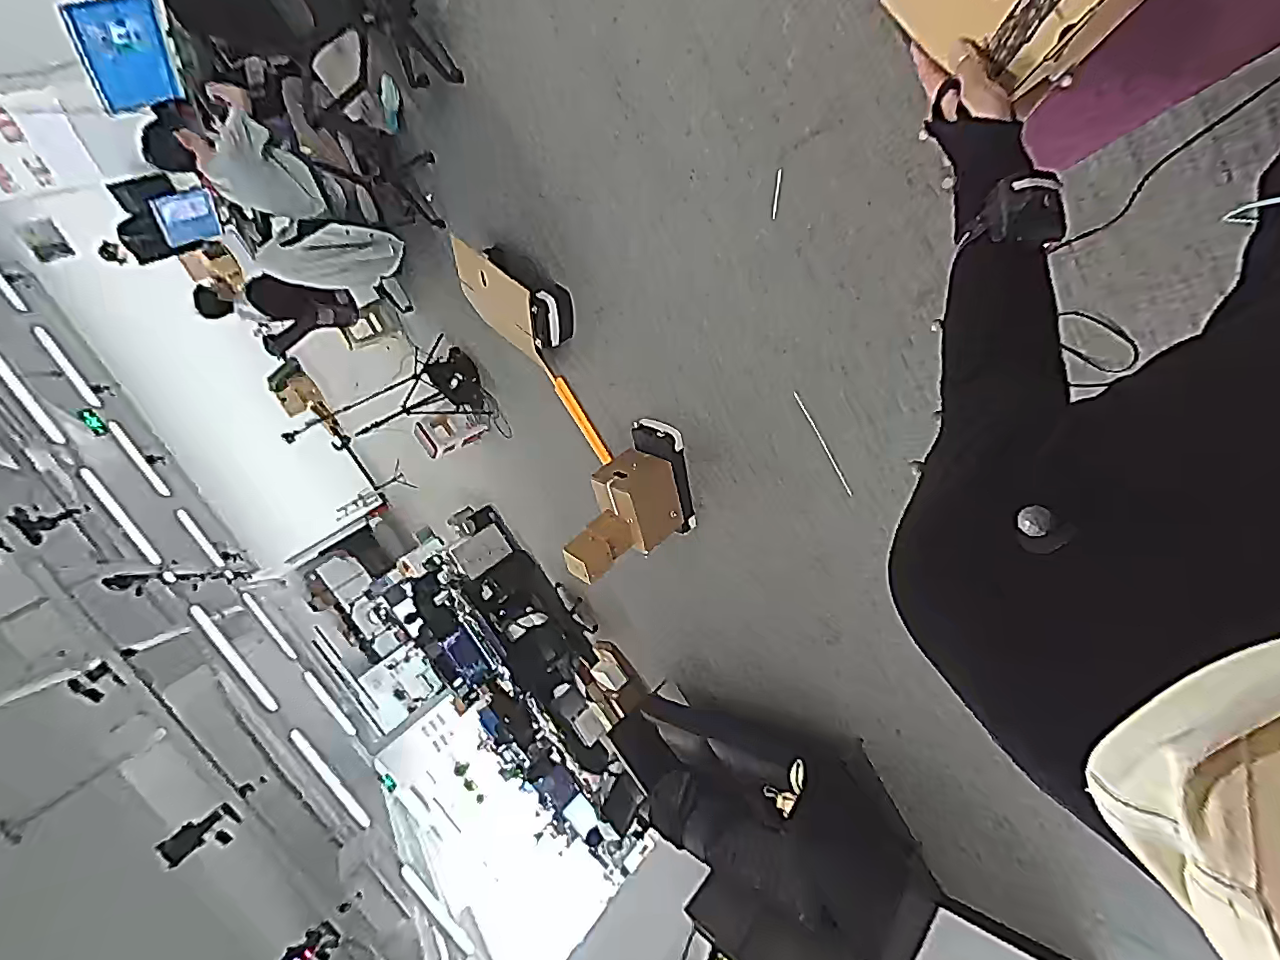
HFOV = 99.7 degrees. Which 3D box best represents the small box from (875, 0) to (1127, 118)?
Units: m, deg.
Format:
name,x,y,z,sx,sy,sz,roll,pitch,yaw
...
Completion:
name,x,y,z,sx,sy,sz,roll,pitch,yaw
small box,0.384,-0.508,0.532,0.179,0.176,0.168,53,150,5
